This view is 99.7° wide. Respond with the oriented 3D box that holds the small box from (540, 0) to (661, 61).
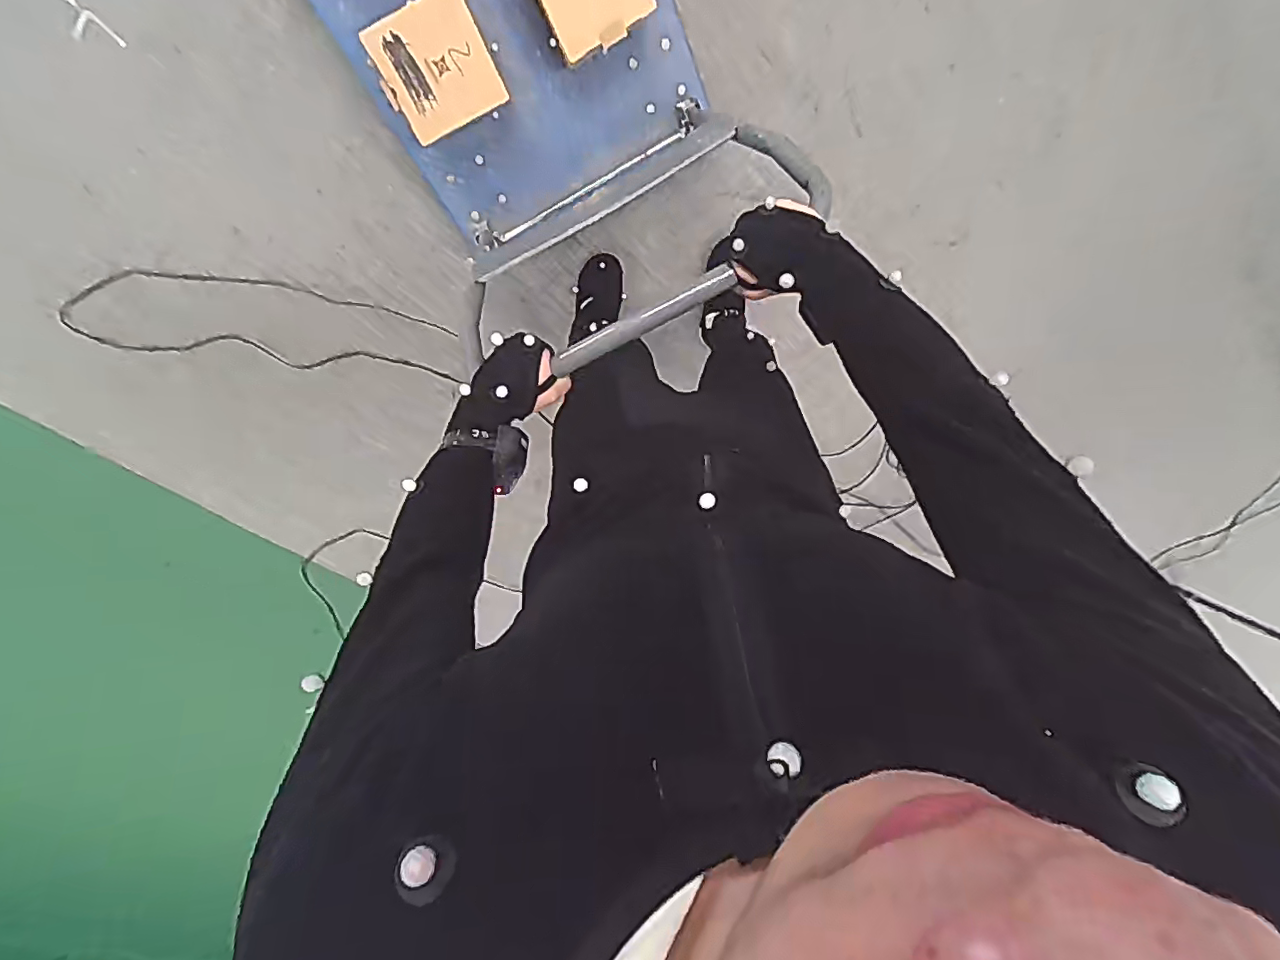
[{"bbox_3d":[-0.086,-0.830,0.891,0.168,0.176,0.179,-26,127,10],"label":"small box"}]
